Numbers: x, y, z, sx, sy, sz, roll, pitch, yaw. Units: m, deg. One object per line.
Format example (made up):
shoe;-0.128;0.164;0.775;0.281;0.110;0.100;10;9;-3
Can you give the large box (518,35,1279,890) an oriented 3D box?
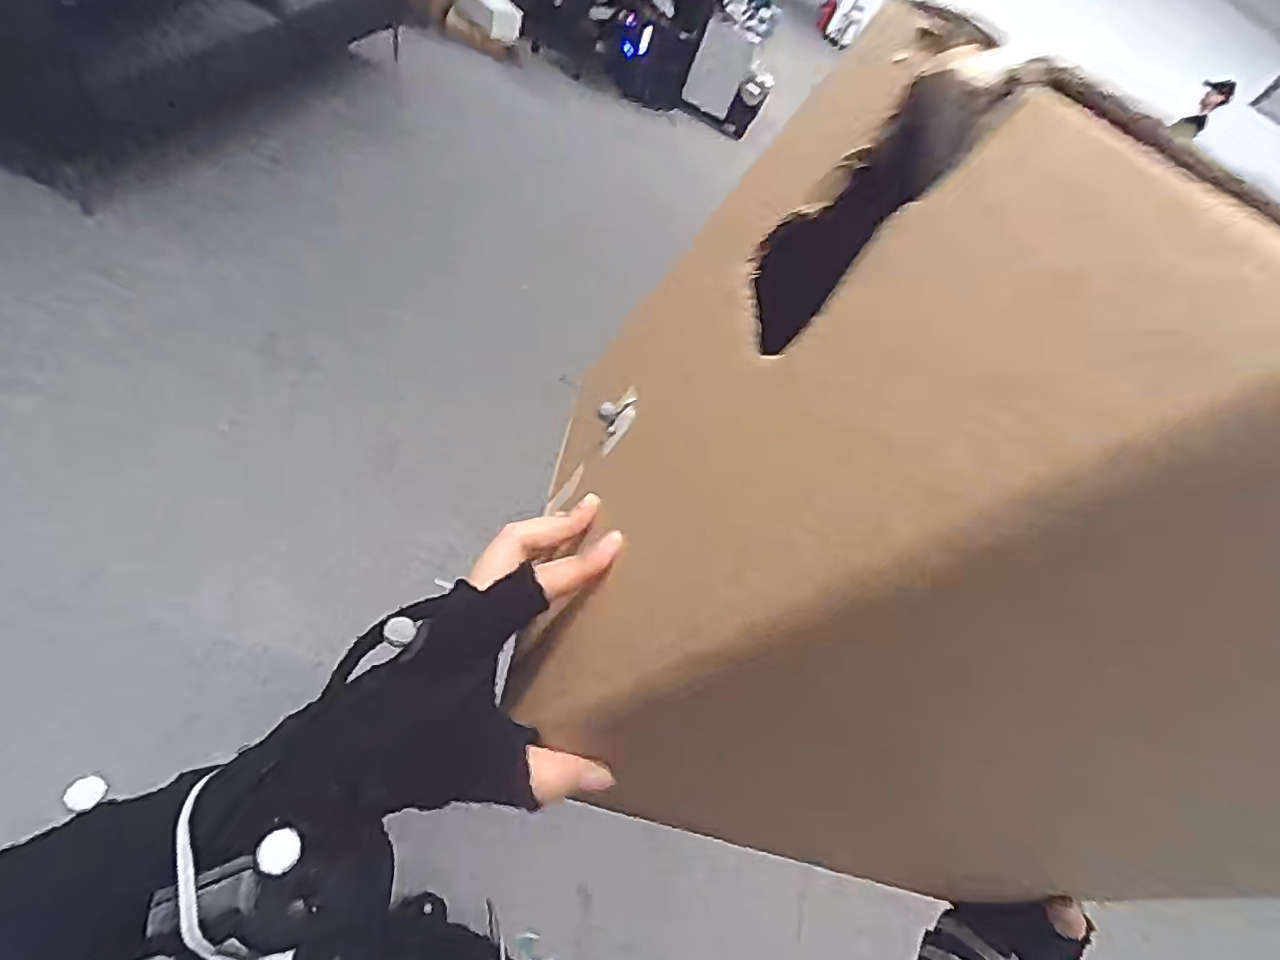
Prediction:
large box;0.191;0.042;0.348;0.408;0.320;0.320;30;43;-23
